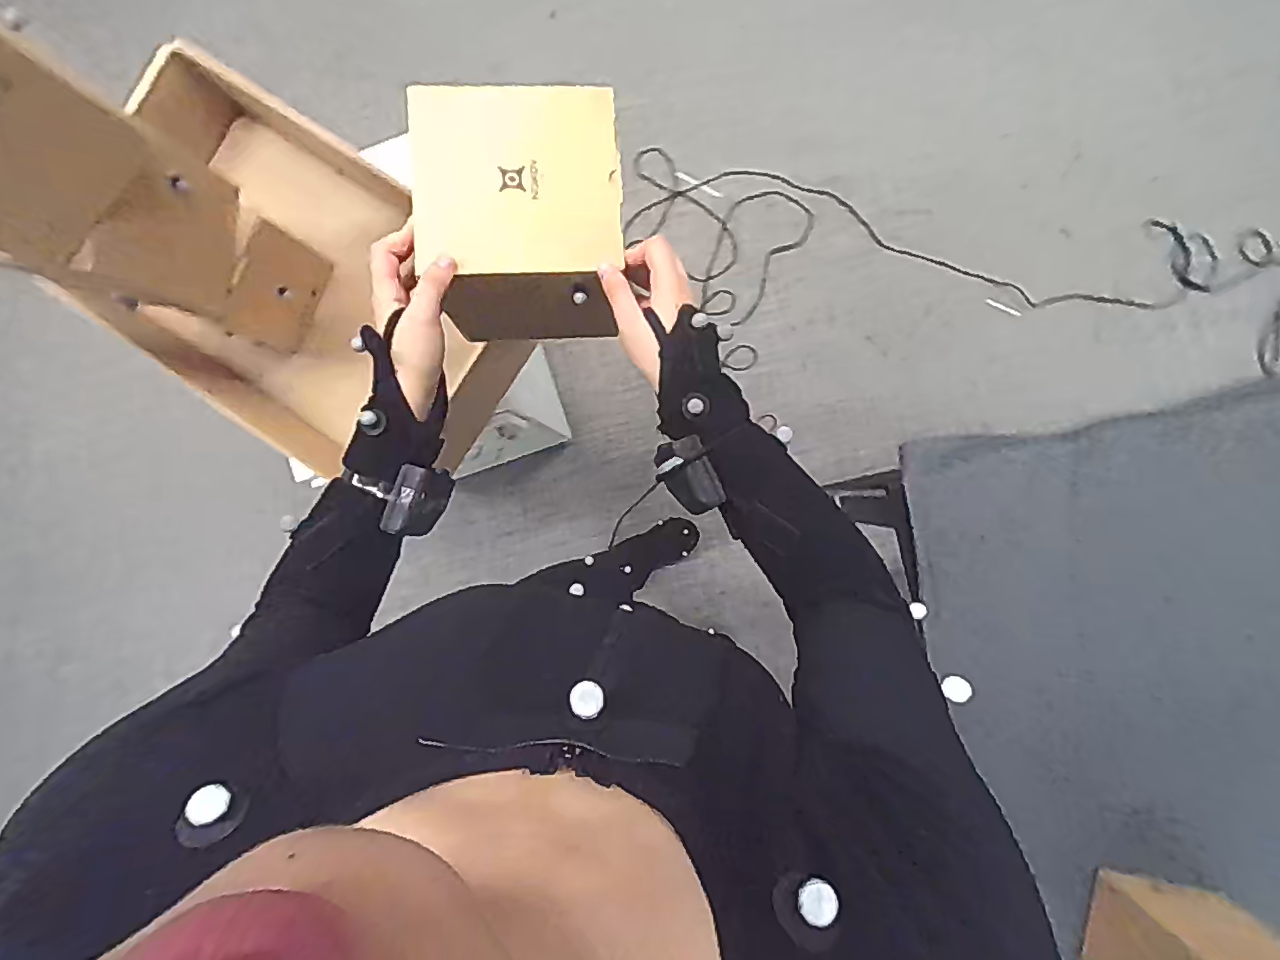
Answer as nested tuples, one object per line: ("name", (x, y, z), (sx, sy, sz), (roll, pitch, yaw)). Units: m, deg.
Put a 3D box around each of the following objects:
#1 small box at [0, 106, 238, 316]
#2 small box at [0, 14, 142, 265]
("small box", (-0.624, -0.314, 0.644), (0.168, 0.176, 0.179), (8, 92, 4))
("small box", (-0.610, -0.333, 0.478), (0.168, 0.176, 0.179), (39, 92, 3))
